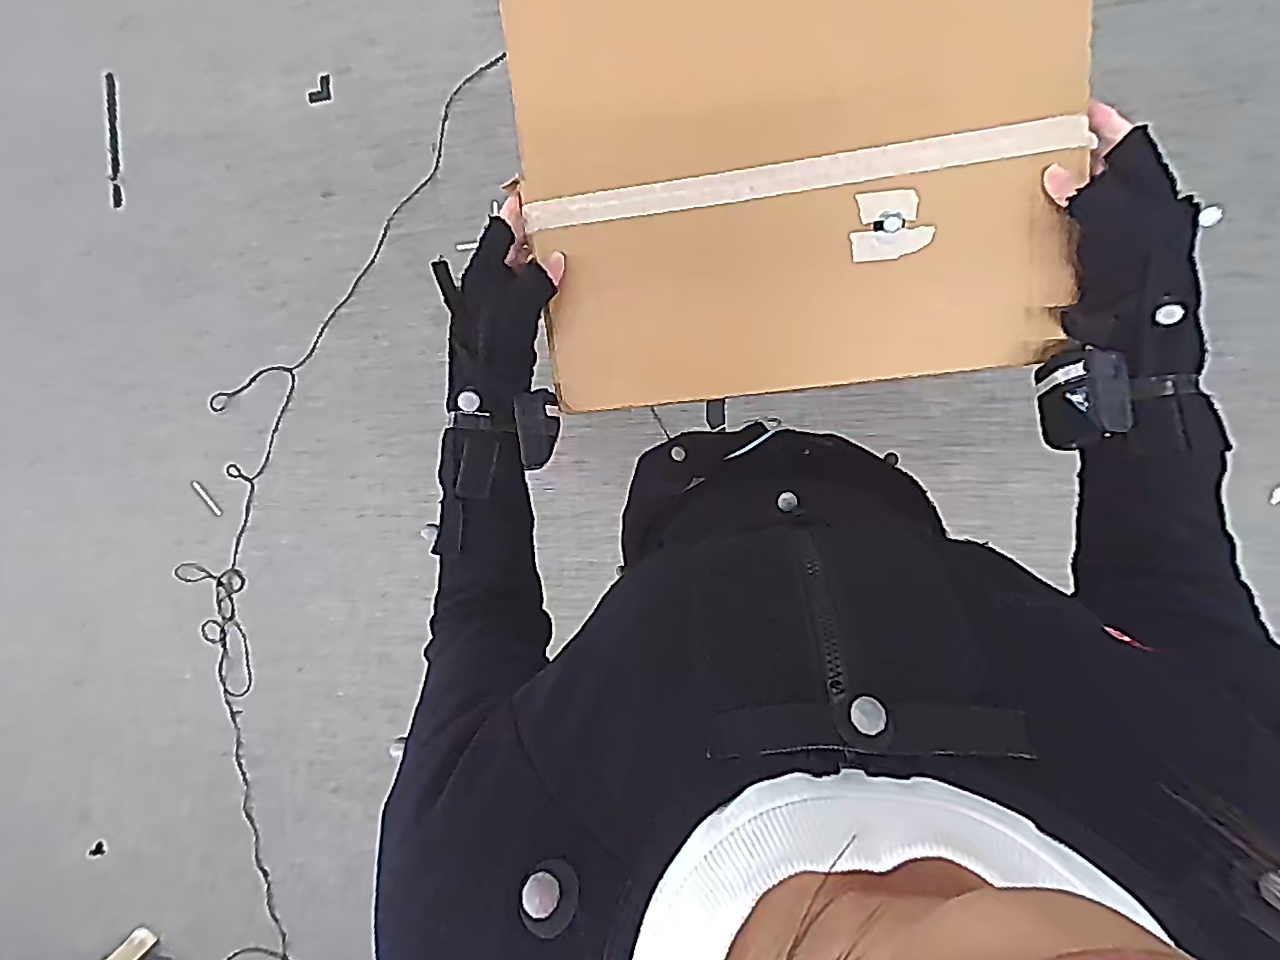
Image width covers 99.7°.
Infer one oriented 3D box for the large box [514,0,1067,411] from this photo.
[{"bbox_3d":[0.127,-0.257,0.565,0.408,0.320,0.320,-5,101,6],"label":"large box"}]
